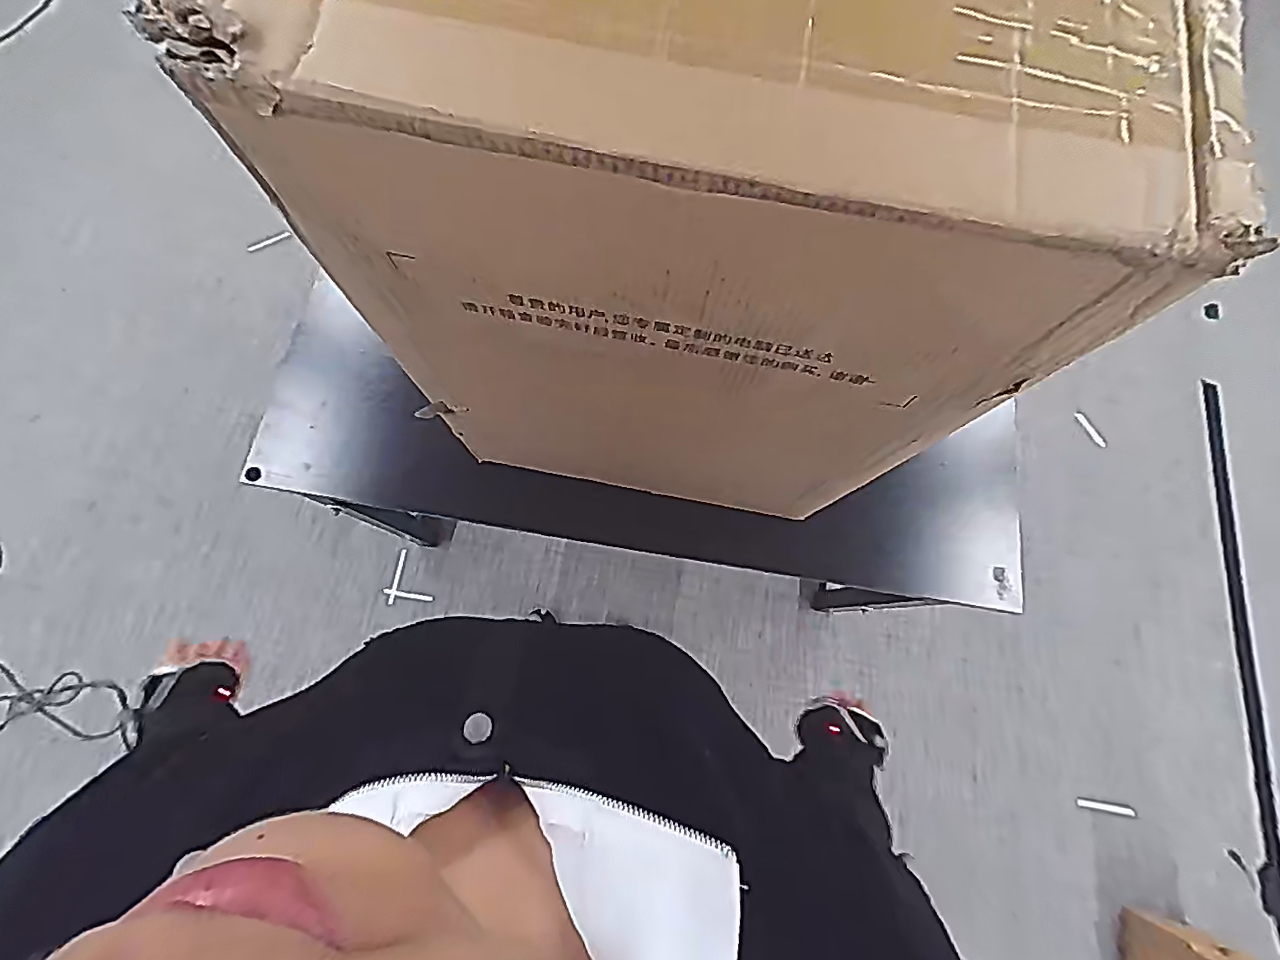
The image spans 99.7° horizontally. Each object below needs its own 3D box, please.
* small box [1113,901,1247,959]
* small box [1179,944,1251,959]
[{"bbox_3d":[1.278,1.154,1.288,0.168,0.176,0.179,14,76,1],"label":"small box"},{"bbox_3d":[1.290,1.120,1.127,0.179,0.176,0.168,14,75,1],"label":"small box"}]
